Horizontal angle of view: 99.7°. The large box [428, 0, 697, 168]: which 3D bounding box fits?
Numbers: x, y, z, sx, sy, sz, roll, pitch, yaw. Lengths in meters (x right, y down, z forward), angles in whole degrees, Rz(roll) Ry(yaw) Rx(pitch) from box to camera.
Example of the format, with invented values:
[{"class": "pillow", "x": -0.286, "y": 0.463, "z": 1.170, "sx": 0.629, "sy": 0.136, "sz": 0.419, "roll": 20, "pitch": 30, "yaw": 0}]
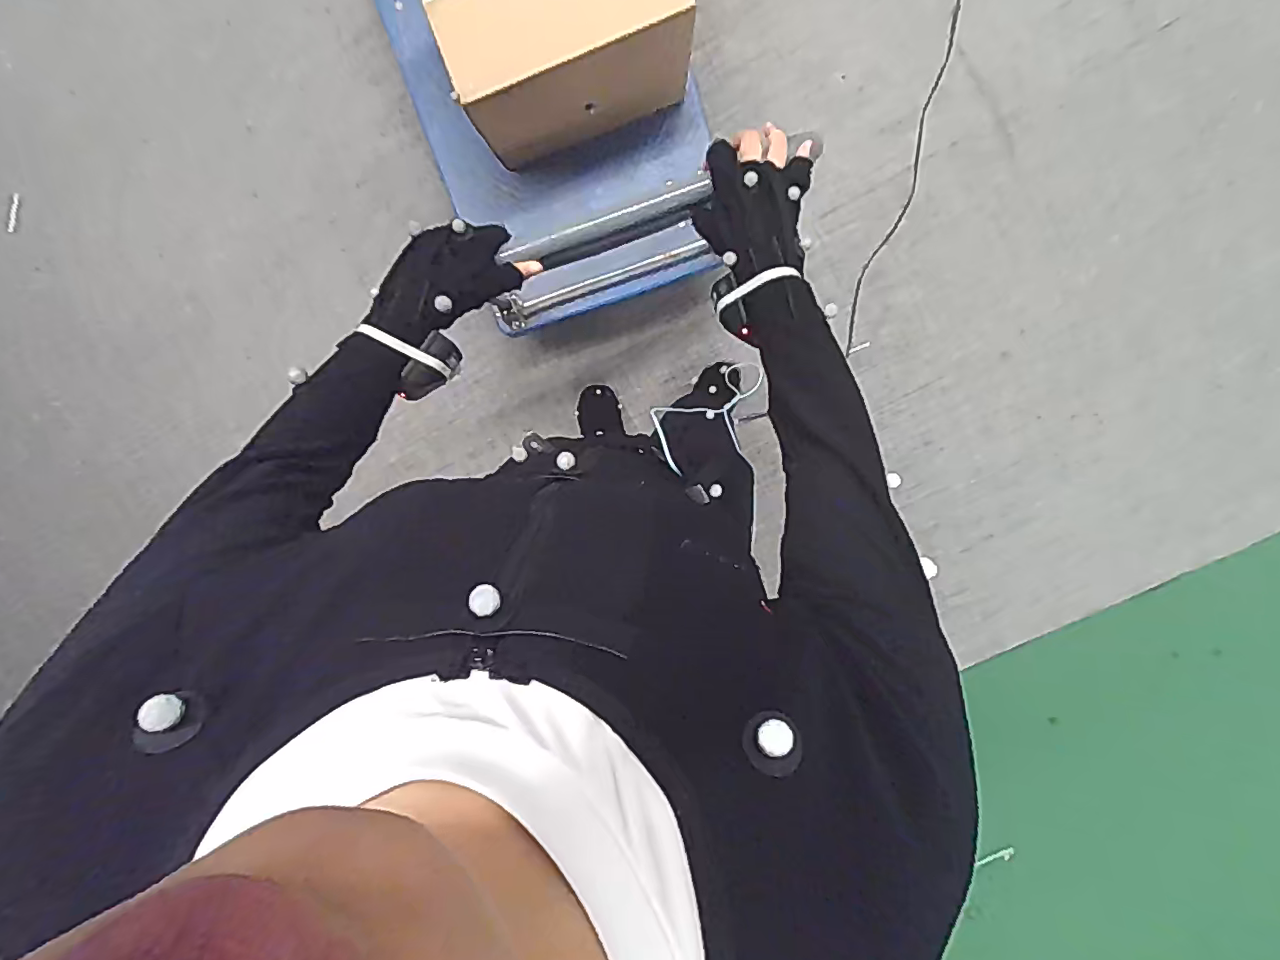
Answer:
[{"class": "large box", "x": -0.140, "y": -0.847, "z": 0.984, "sx": 0.408, "sy": 0.320, "sz": 0.320, "roll": -20, "pitch": 100, "yaw": 6}]
